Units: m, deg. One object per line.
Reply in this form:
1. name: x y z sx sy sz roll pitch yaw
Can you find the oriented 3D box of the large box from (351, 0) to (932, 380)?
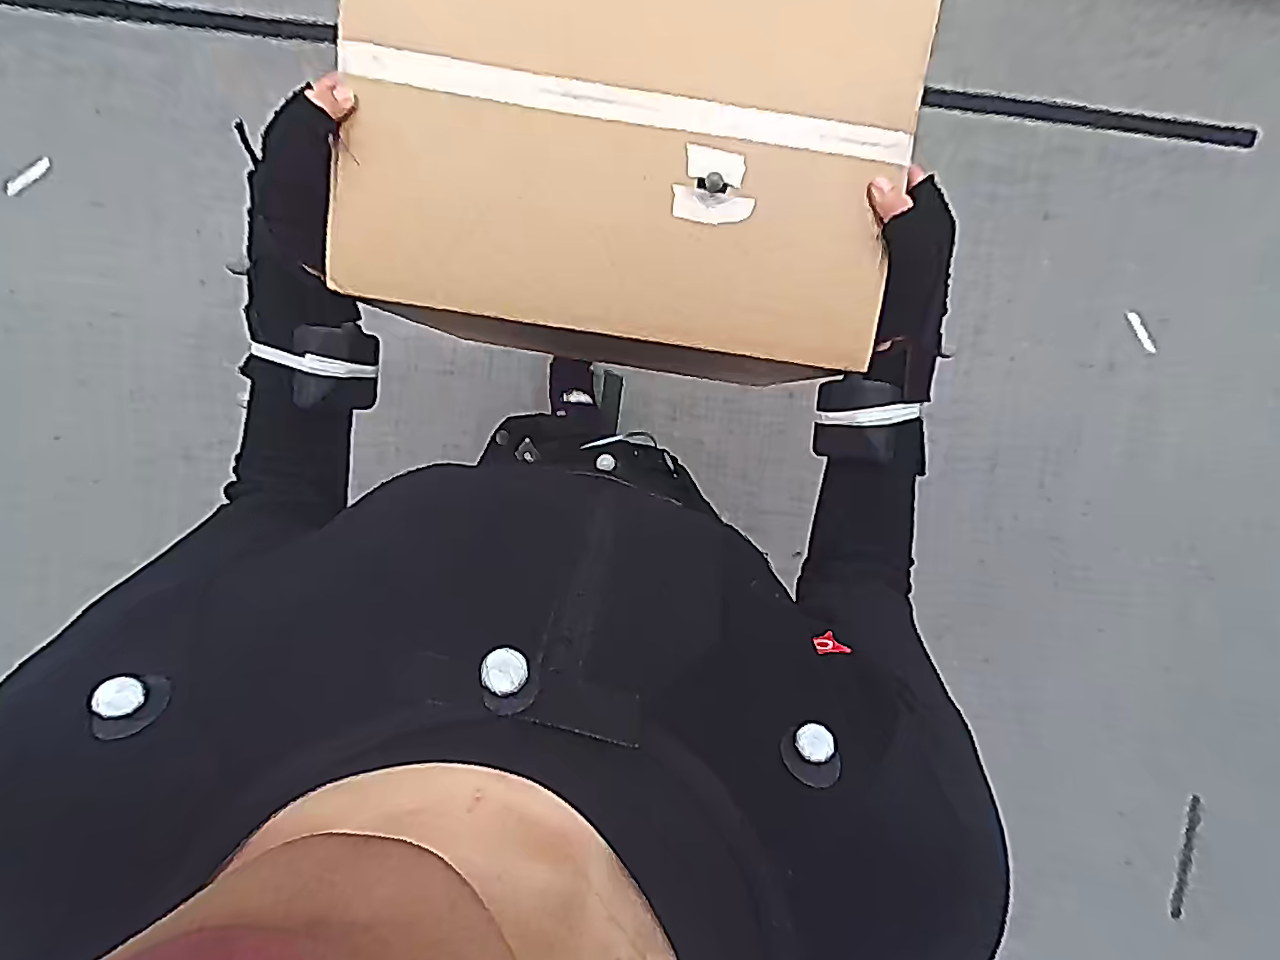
1. large box: -0.008 -0.284 0.539 0.408 0.320 0.320 8 99 -3
